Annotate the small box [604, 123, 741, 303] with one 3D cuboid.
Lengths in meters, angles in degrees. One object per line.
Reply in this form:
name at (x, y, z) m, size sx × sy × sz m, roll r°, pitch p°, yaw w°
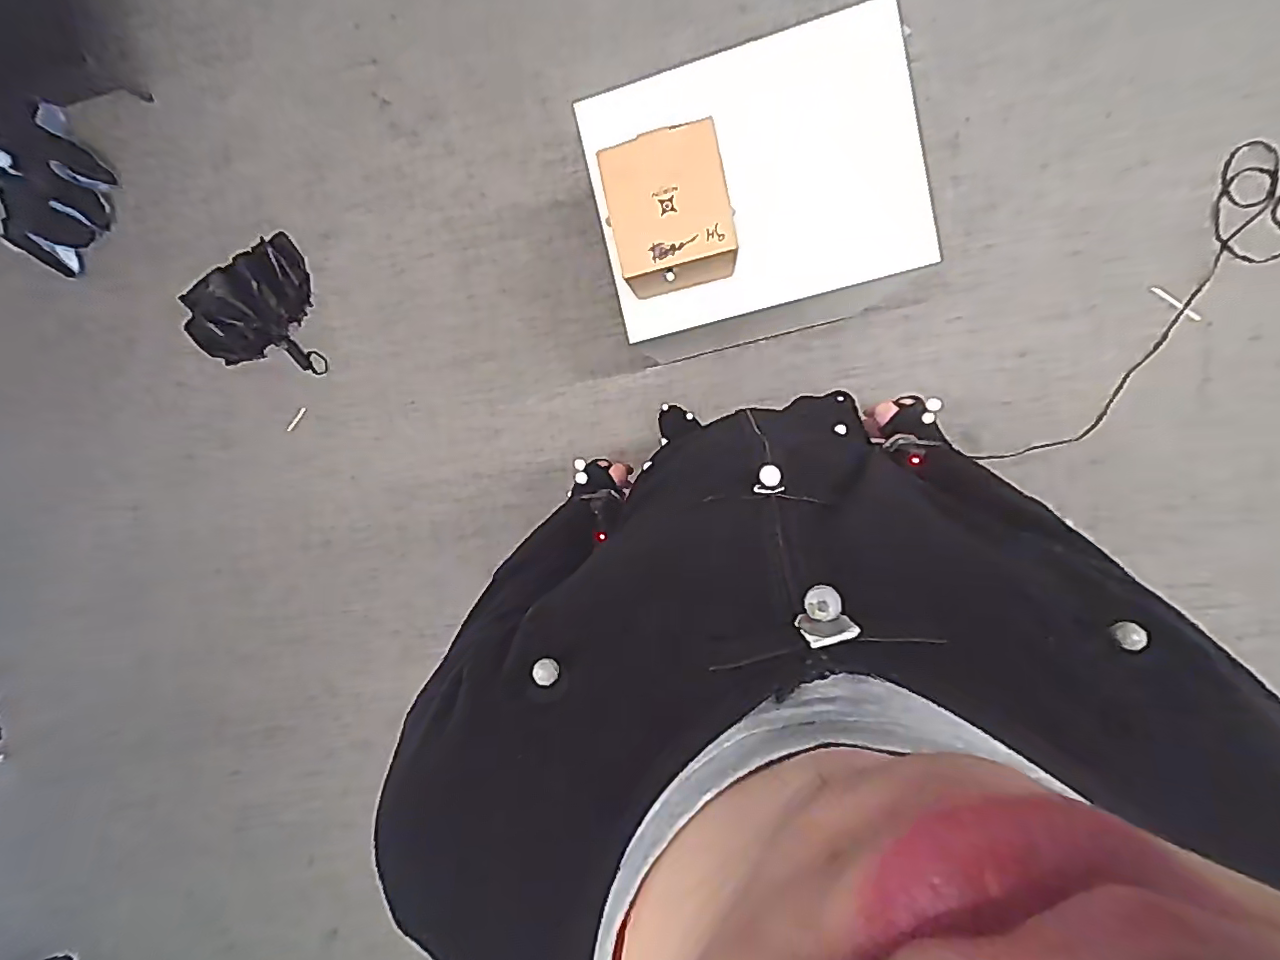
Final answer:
small box at (0.053, -0.388, 0.817) m, size 0.168 × 0.176 × 0.179 m, roll -11°, pitch 95°, yaw 9°
